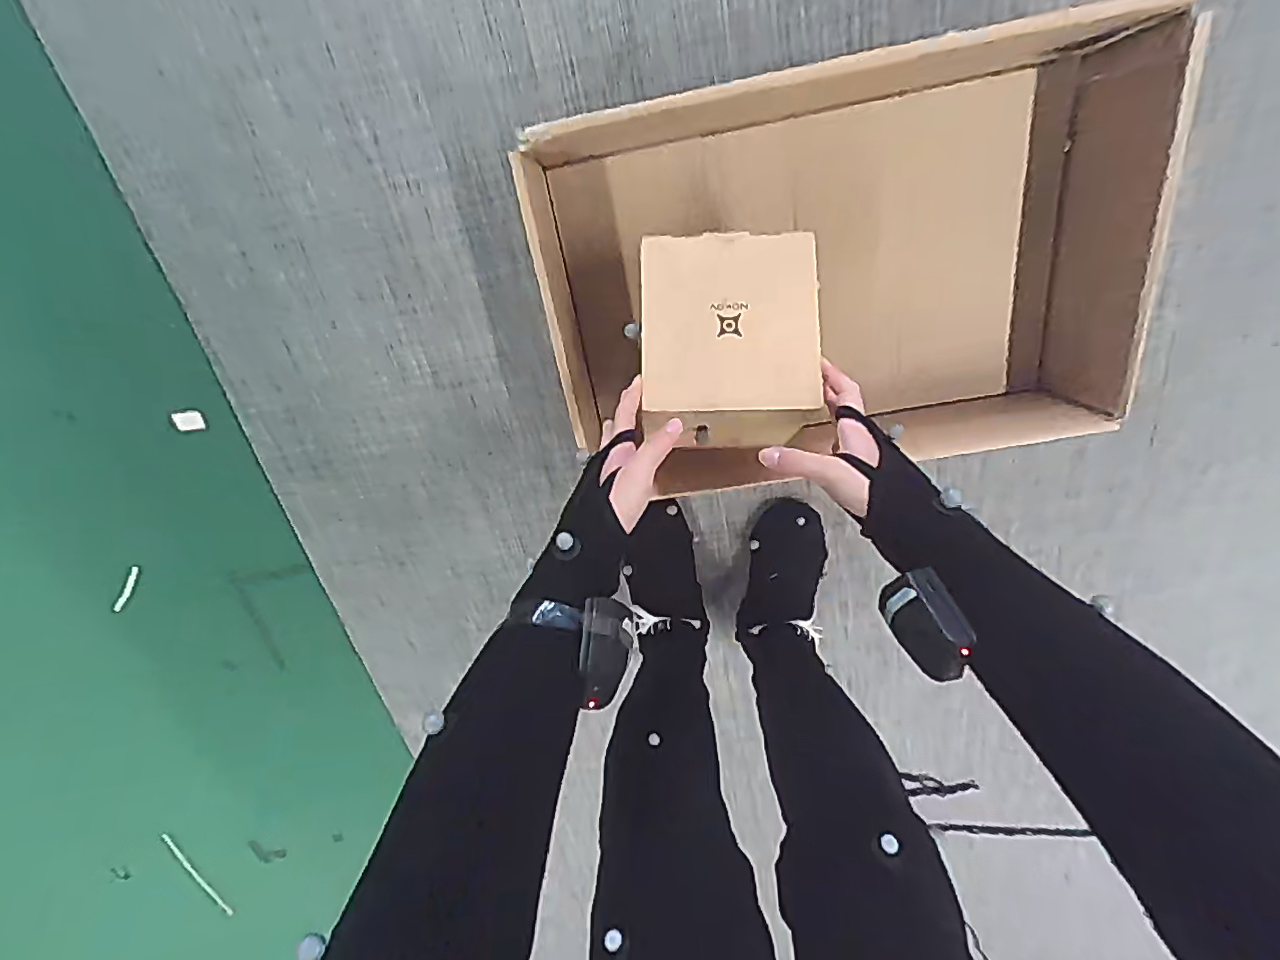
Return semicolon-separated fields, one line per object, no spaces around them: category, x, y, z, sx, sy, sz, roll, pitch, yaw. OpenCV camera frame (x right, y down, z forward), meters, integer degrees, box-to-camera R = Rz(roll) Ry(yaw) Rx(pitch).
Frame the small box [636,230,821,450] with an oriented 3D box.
small box;0.083;-0.132;0.571;0.168;0.176;0.179;-1;77;2
